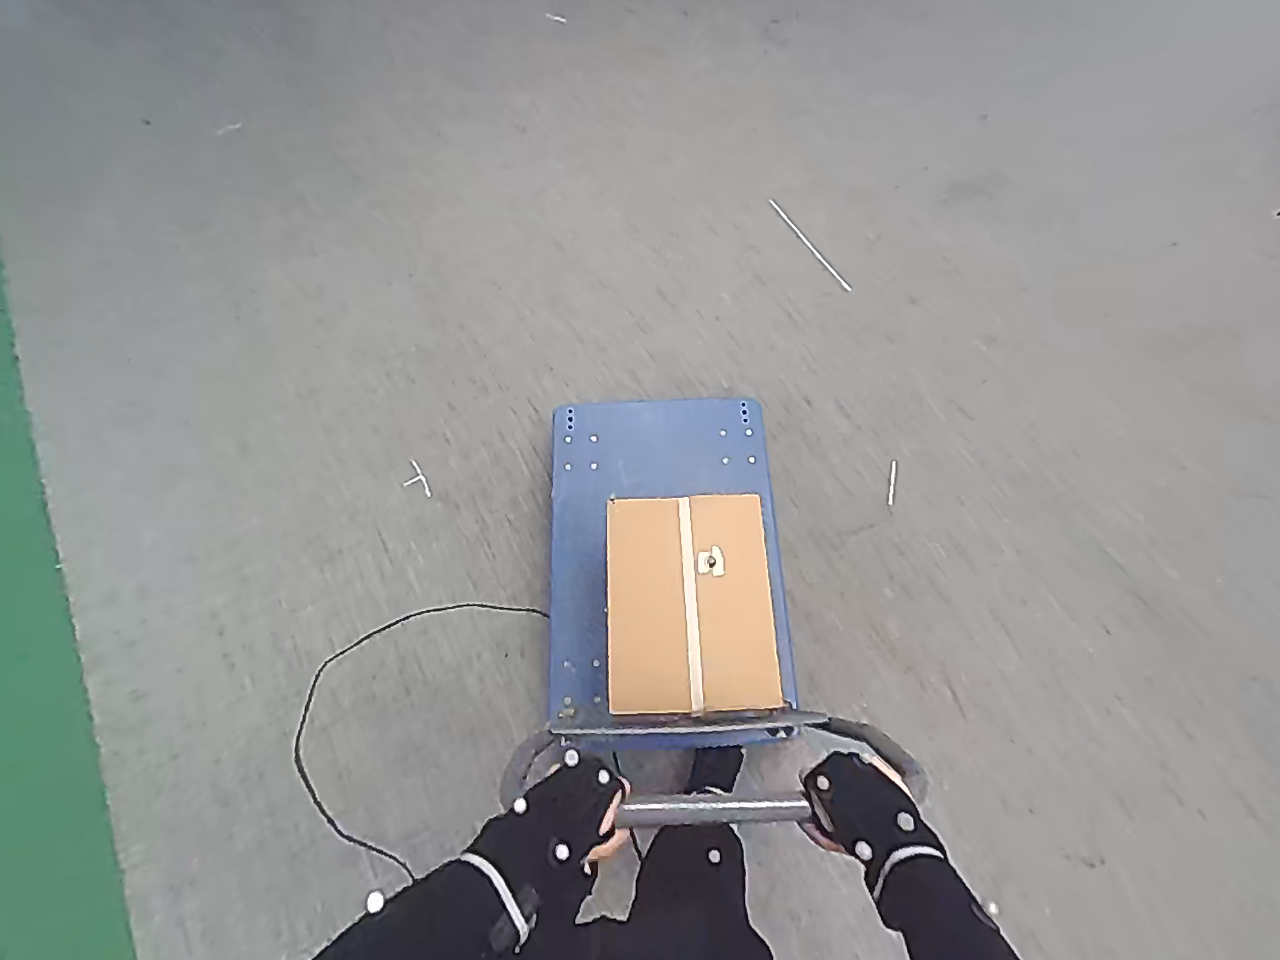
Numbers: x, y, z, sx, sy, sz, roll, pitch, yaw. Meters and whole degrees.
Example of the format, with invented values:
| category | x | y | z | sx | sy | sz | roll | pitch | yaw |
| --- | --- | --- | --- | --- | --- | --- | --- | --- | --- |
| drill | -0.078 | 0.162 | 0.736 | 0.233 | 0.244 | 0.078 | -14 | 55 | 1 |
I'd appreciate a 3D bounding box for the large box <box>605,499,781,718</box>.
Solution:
| category | x | y | z | sx | sy | sz | roll | pitch | yaw |
| --- | --- | --- | --- | --- | --- | --- | --- | --- | --- |
| large box | 0.093 | 0.285 | 1.173 | 0.320 | 0.320 | 0.408 | -2 | 69 | -1 |
